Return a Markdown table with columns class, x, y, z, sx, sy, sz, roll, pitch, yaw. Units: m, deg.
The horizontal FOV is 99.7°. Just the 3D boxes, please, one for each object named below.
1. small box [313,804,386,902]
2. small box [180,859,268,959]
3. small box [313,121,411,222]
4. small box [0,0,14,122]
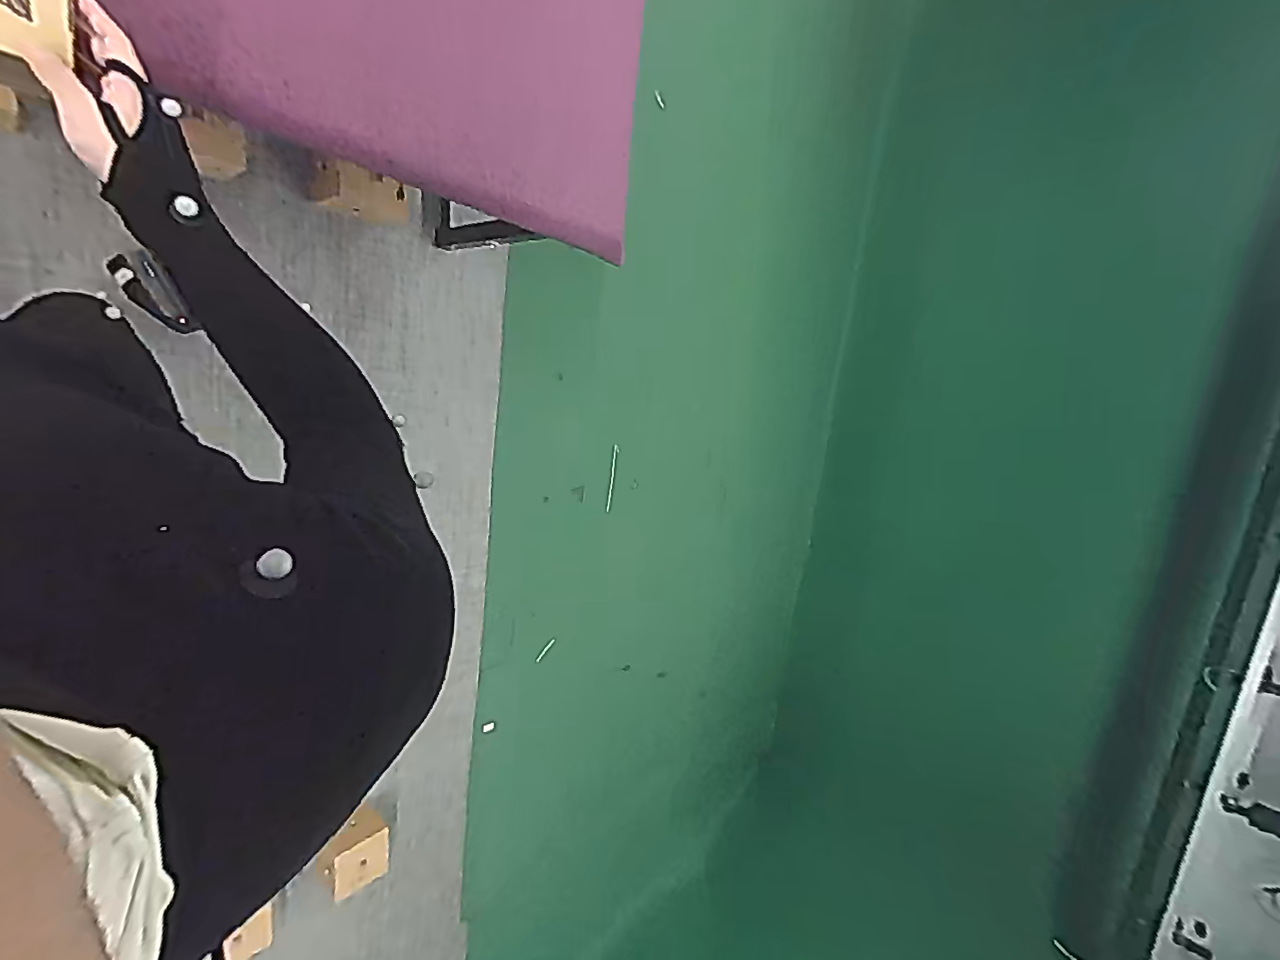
| class | x | y | z | sx | sy | sz | roll | pitch | yaw |
| --- | --- | --- | --- | --- | --- | --- | --- | --- | --- |
| small box | -0.948 | 1.196 | 1.759 | 0.168 | 0.176 | 0.179 | -6 | 107 | -49 |
| small box | -1.162 | 1.224 | 1.512 | 0.168 | 0.176 | 0.179 | -7 | 107 | -50 |
| small box | -0.716 | -0.778 | 1.388 | 0.179 | 0.176 | 0.168 | -2 | 104 | -50 |
| small box | -1.157 | -0.715 | 0.878 | 0.179 | 0.176 | 0.168 | -7 | 107 | -49 |
